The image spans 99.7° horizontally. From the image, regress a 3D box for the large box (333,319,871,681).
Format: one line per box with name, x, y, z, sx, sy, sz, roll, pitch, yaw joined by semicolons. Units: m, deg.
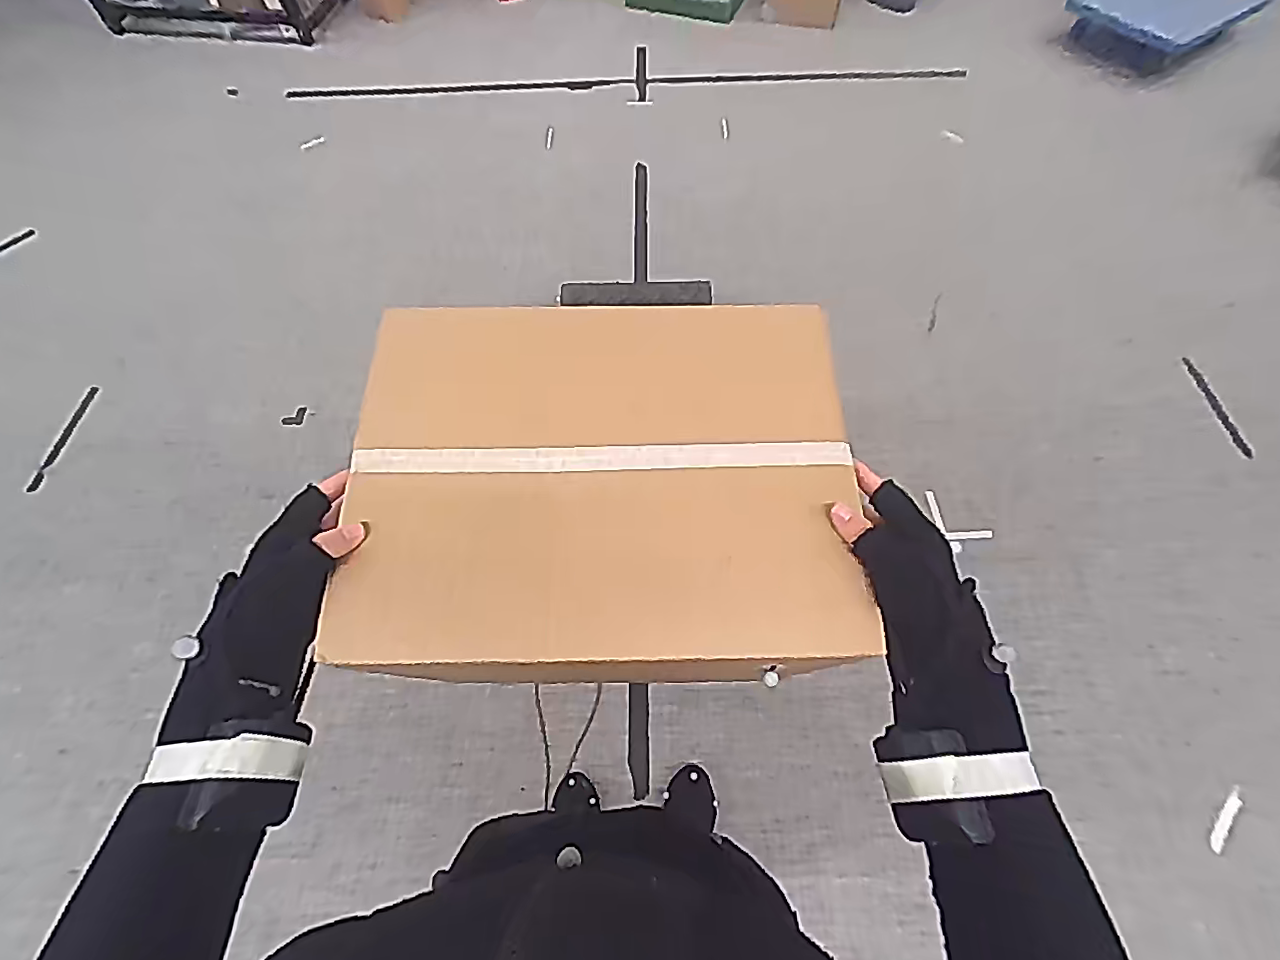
large box;-0.030;0.048;0.589;0.408;0.320;0.320;0;67;-1
